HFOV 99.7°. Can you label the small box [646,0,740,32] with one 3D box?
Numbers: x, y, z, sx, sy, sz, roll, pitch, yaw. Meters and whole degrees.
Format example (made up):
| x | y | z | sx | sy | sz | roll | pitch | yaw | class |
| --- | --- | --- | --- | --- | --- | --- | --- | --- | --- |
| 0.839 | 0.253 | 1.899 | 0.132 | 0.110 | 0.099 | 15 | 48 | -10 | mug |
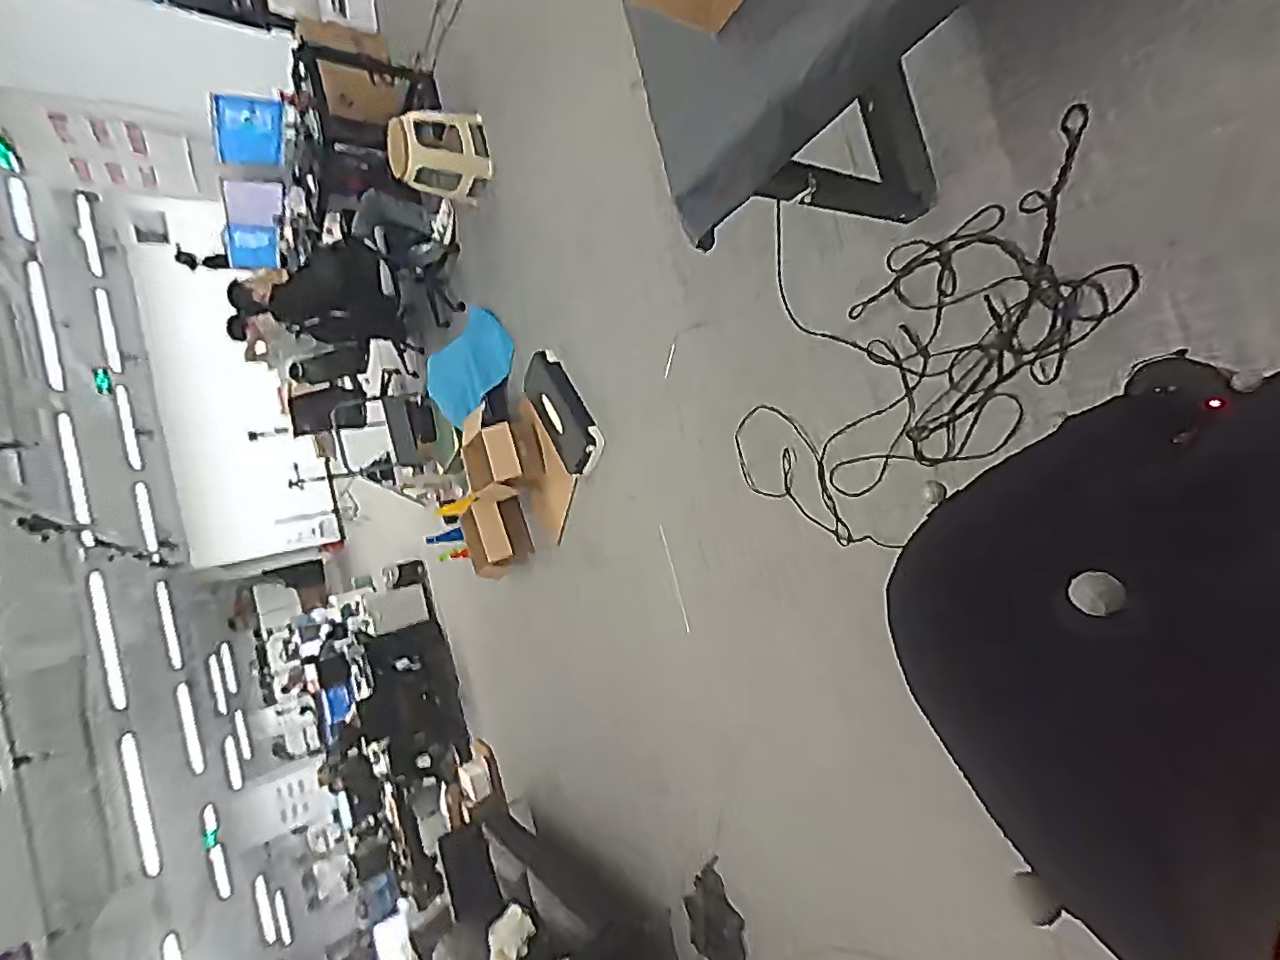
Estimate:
| x | y | z | sx | sy | sz | roll | pitch | yaw | class |
| --- | --- | --- | --- | --- | --- | --- | --- | --- | --- |
| 0.071 | -0.725 | 0.679 | 0.179 | 0.176 | 0.168 | -21 | 83 | 54 | small box |
